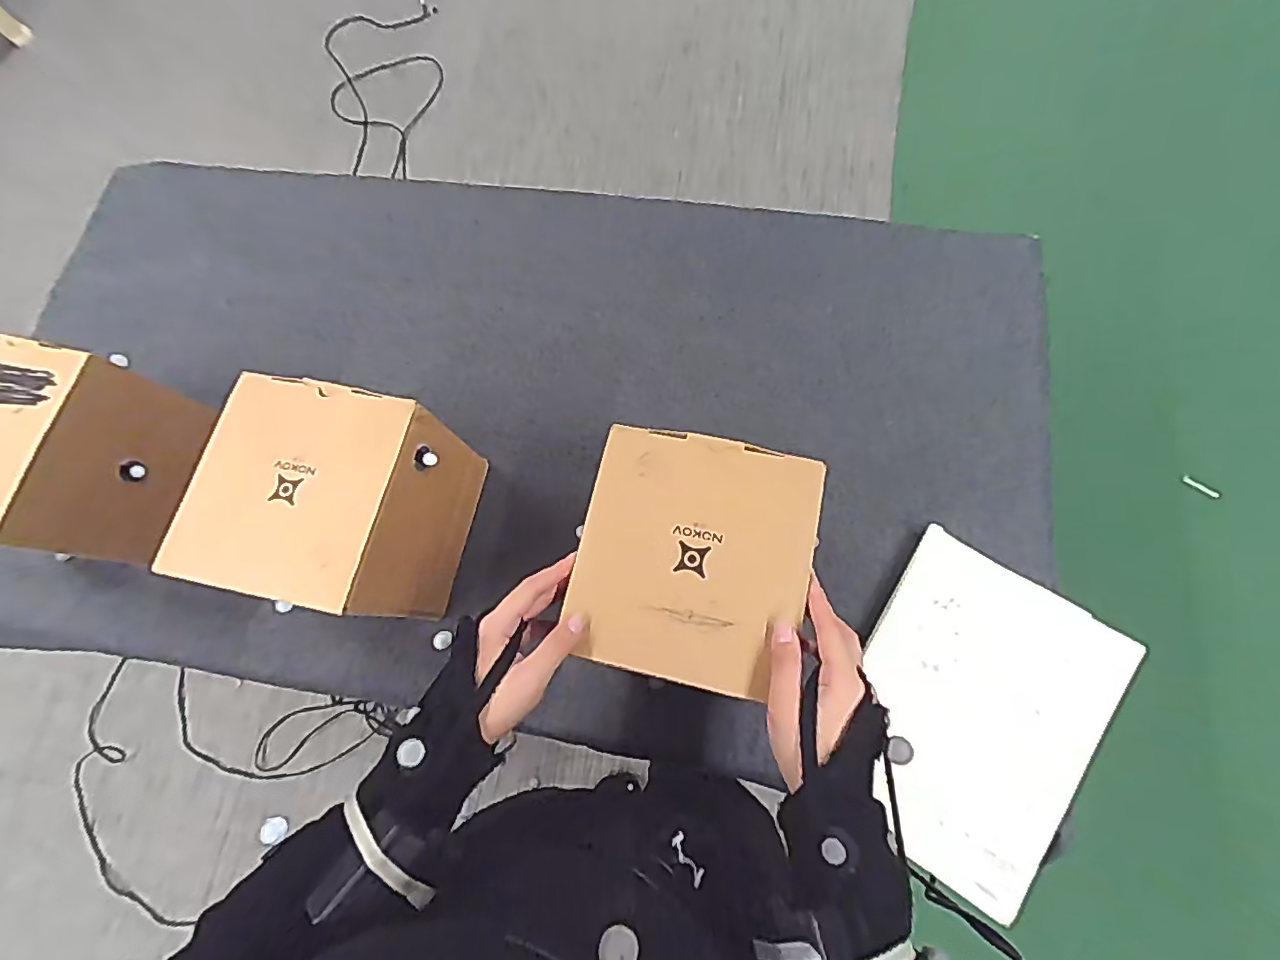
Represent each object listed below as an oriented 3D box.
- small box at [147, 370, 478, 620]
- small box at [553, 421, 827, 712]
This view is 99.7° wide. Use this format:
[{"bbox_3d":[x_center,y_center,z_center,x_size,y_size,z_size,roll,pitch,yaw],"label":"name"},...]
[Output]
[{"bbox_3d":[-0.270,0.025,0.495,0.168,0.176,0.179,10,74,8],"label":"small box"},{"bbox_3d":[0.045,0.073,0.453,0.168,0.176,0.179,10,75,9],"label":"small box"}]
